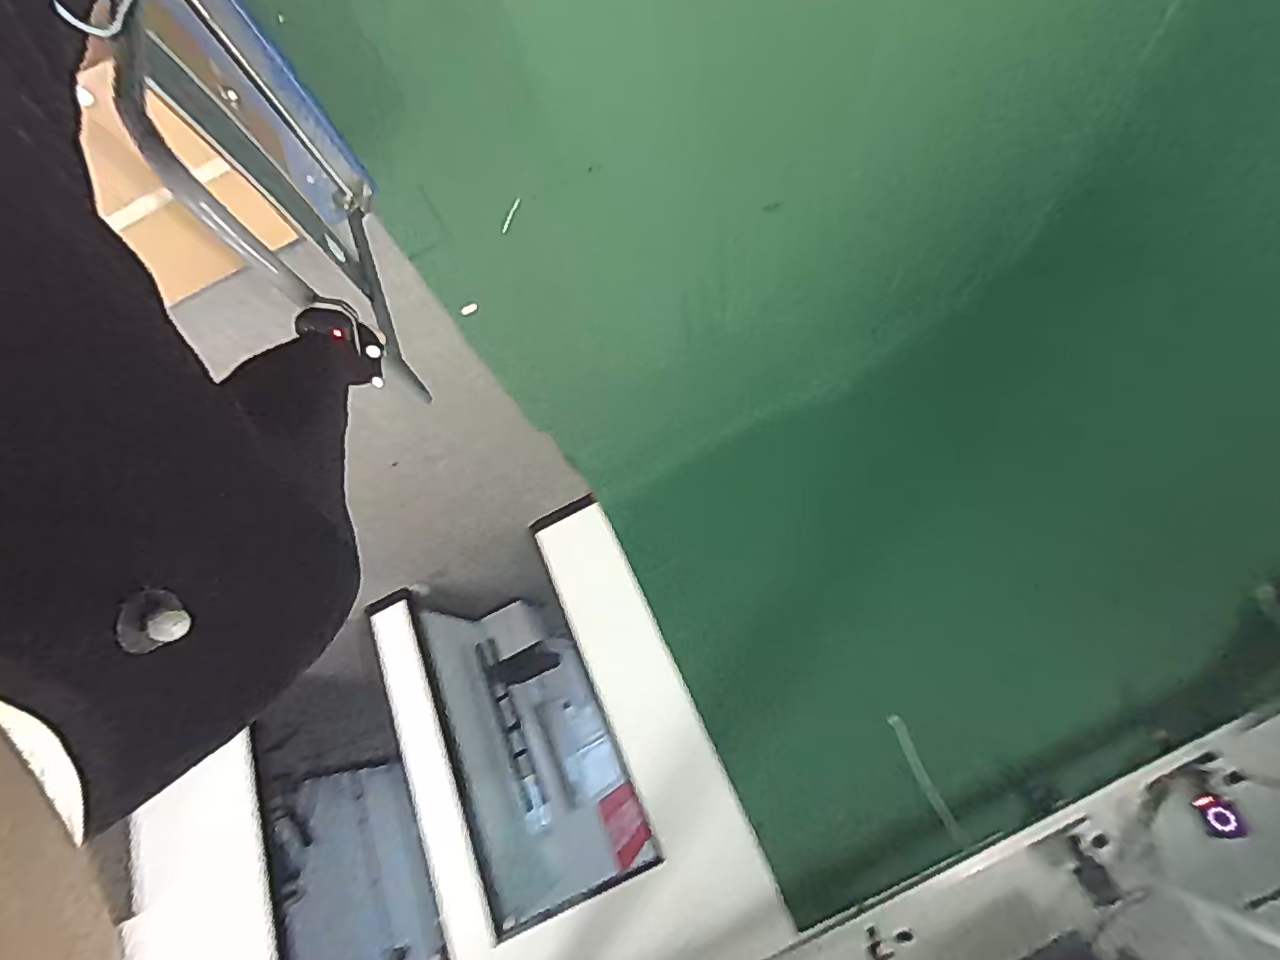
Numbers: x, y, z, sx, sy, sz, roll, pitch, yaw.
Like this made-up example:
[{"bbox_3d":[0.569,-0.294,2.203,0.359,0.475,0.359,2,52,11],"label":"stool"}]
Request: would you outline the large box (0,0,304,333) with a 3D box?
[{"bbox_3d":[-0.873,-0.535,0.911,0.408,0.320,0.320,-27,156,2],"label":"large box"}]
